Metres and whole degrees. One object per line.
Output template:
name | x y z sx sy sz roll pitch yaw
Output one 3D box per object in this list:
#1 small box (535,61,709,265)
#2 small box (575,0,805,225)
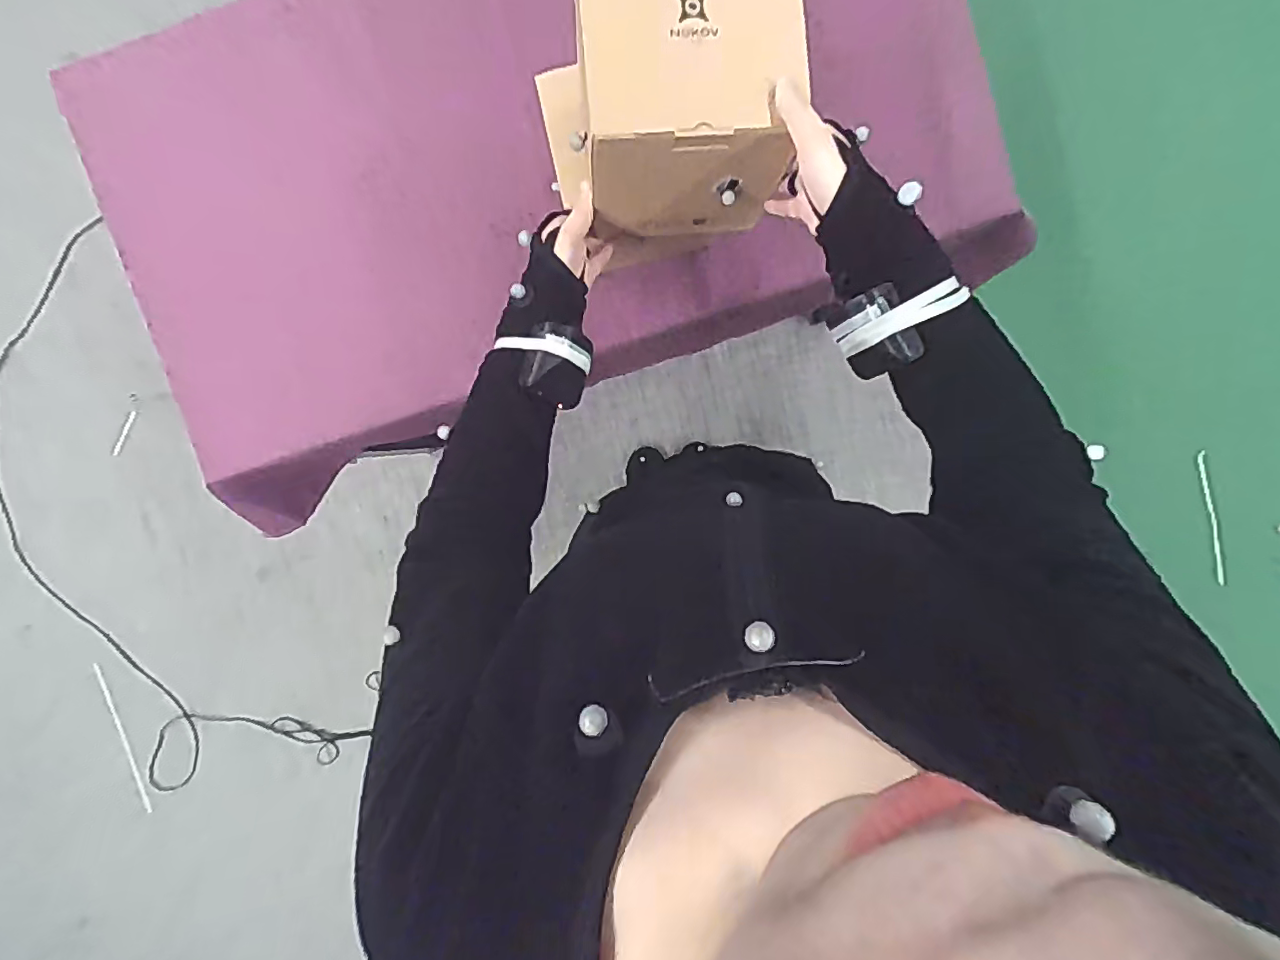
small box | -0.009 -0.381 0.660 0.179 0.176 0.168 -12 95 4
small box | 0.032 -0.340 0.471 0.168 0.176 0.179 -4 91 -3
